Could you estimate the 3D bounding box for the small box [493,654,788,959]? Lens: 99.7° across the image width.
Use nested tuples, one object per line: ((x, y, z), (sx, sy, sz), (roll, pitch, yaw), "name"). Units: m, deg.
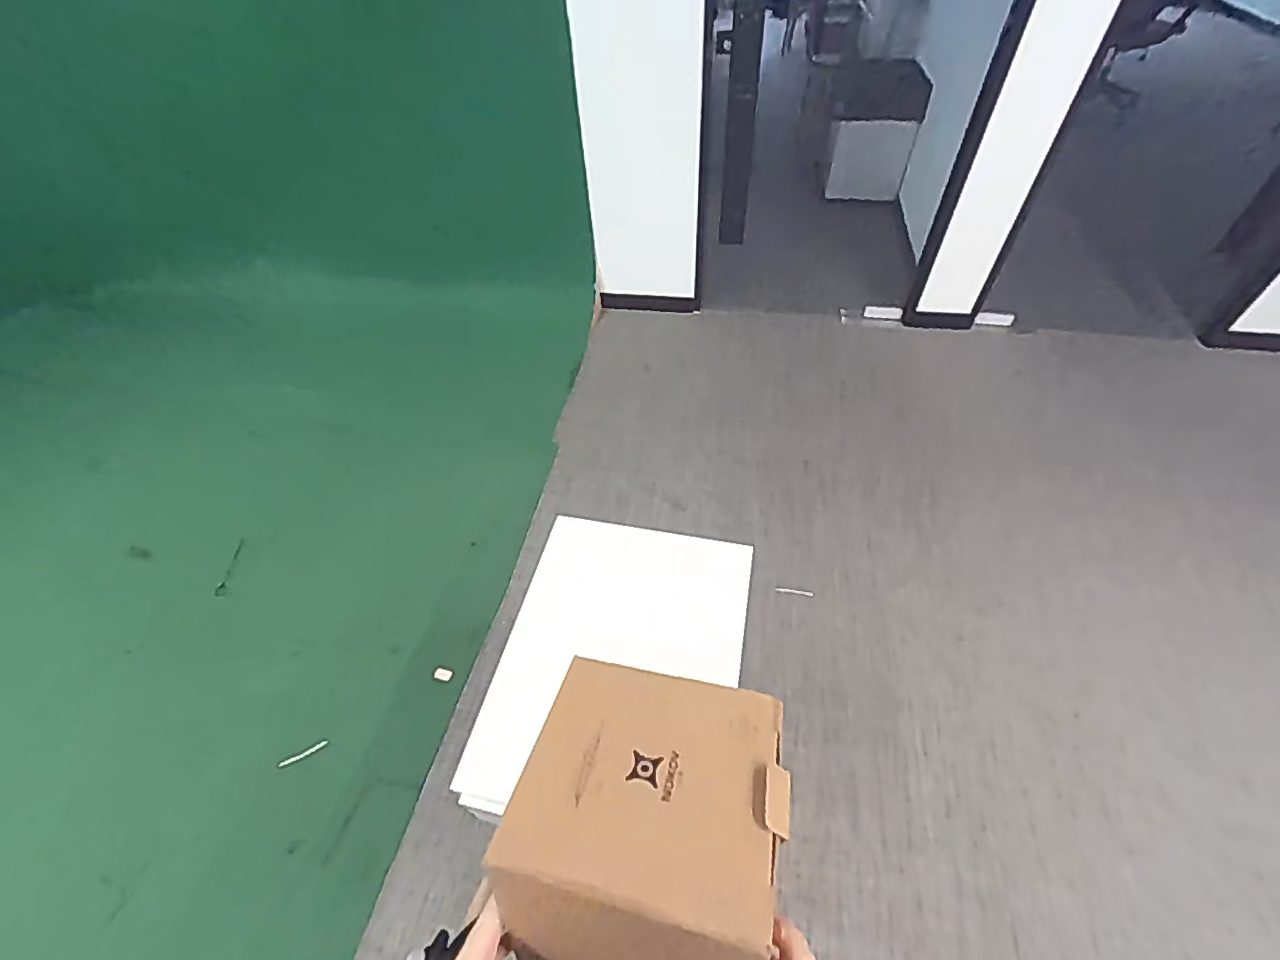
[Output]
((0.014, 0.269, 0.420), (0.179, 0.176, 0.168), (6, 31, 13), "small box")
